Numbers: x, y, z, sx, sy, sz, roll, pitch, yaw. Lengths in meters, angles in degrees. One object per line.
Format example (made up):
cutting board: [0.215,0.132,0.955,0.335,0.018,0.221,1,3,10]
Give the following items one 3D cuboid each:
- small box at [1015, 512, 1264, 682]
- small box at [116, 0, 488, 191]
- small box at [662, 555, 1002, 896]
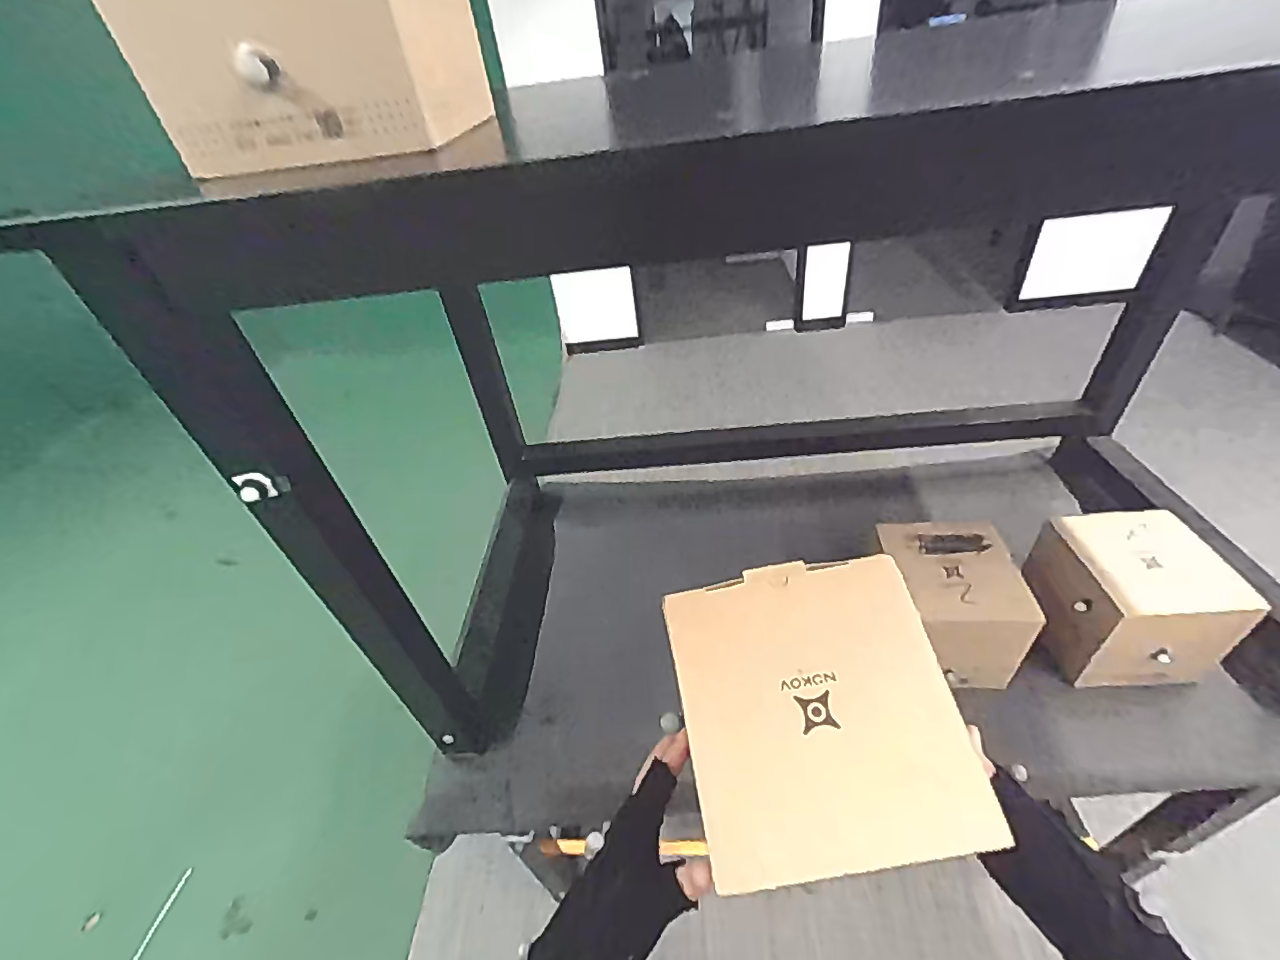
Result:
small box: [0.680,0.170,0.767,0.168,0.176,0.179,-5,38,5]
small box: [-0.215,-0.309,0.365,0.168,0.176,0.179,-5,40,5]
small box: [0.119,0.181,0.409,0.168,0.176,0.179,-12,59,2]
